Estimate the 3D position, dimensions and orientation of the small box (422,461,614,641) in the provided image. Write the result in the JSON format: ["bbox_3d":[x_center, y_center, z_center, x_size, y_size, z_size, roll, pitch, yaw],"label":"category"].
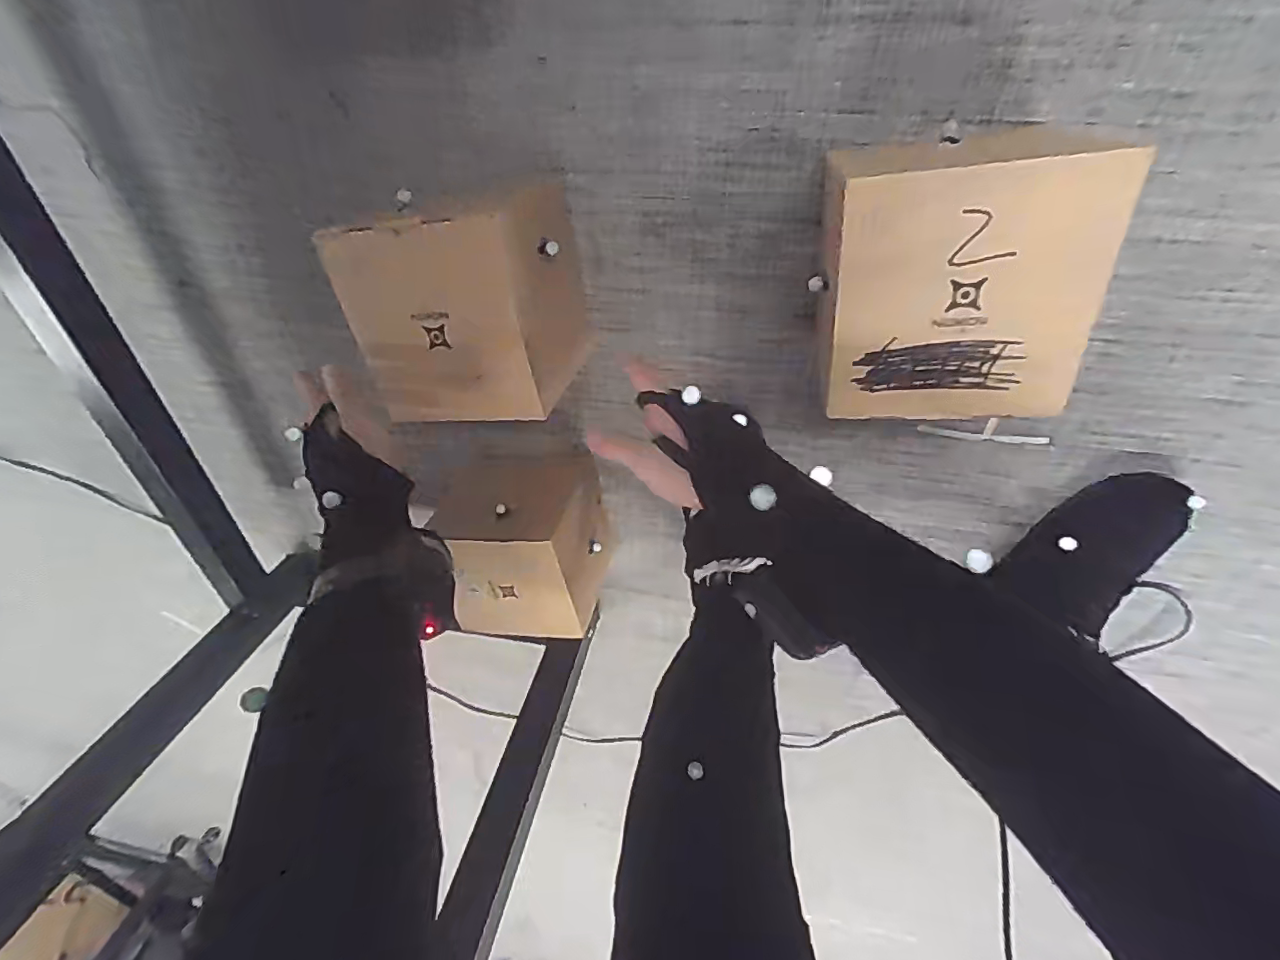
[{"bbox_3d":[-0.139,0.085,0.702,0.179,0.176,0.168,0,125,15],"label":"small box"}]

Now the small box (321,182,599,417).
[{"bbox_3d":[-0.149,-0.176,0.520,0.168,0.176,0.179,2,126,15],"label":"small box"}]
